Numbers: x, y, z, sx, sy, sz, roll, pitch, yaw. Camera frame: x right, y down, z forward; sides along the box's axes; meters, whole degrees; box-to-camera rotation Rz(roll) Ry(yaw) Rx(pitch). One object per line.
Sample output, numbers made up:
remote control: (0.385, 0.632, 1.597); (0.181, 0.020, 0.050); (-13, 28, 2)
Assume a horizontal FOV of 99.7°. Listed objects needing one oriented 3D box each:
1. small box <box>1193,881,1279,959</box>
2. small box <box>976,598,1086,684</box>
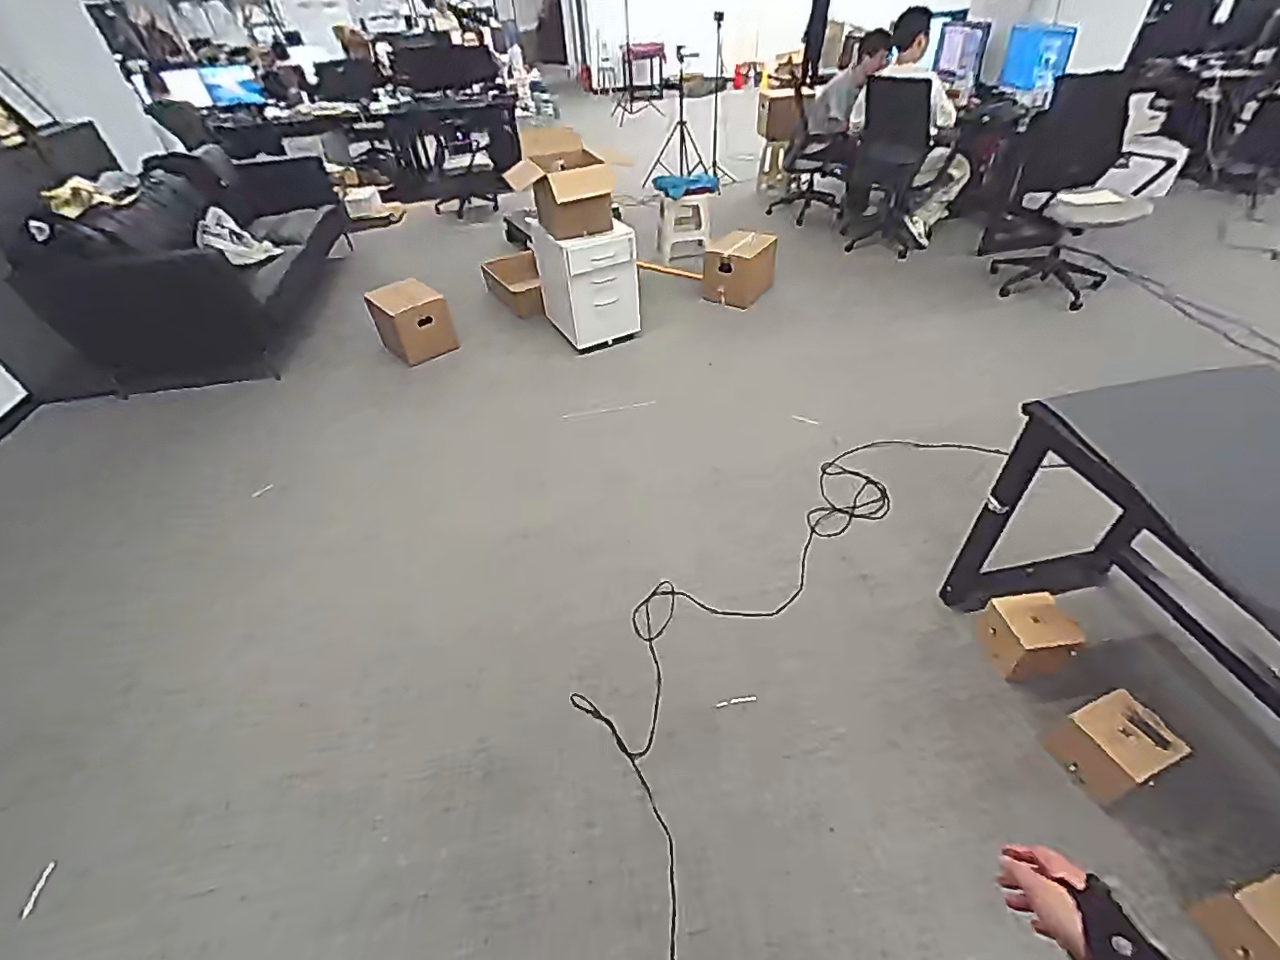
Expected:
small box: (1.230, 0.894, 1.030); (0.179, 0.176, 0.168); (-12, 43, -9)
small box: (1.093, 0.461, 1.536); (0.179, 0.176, 0.168); (-6, 41, -3)
